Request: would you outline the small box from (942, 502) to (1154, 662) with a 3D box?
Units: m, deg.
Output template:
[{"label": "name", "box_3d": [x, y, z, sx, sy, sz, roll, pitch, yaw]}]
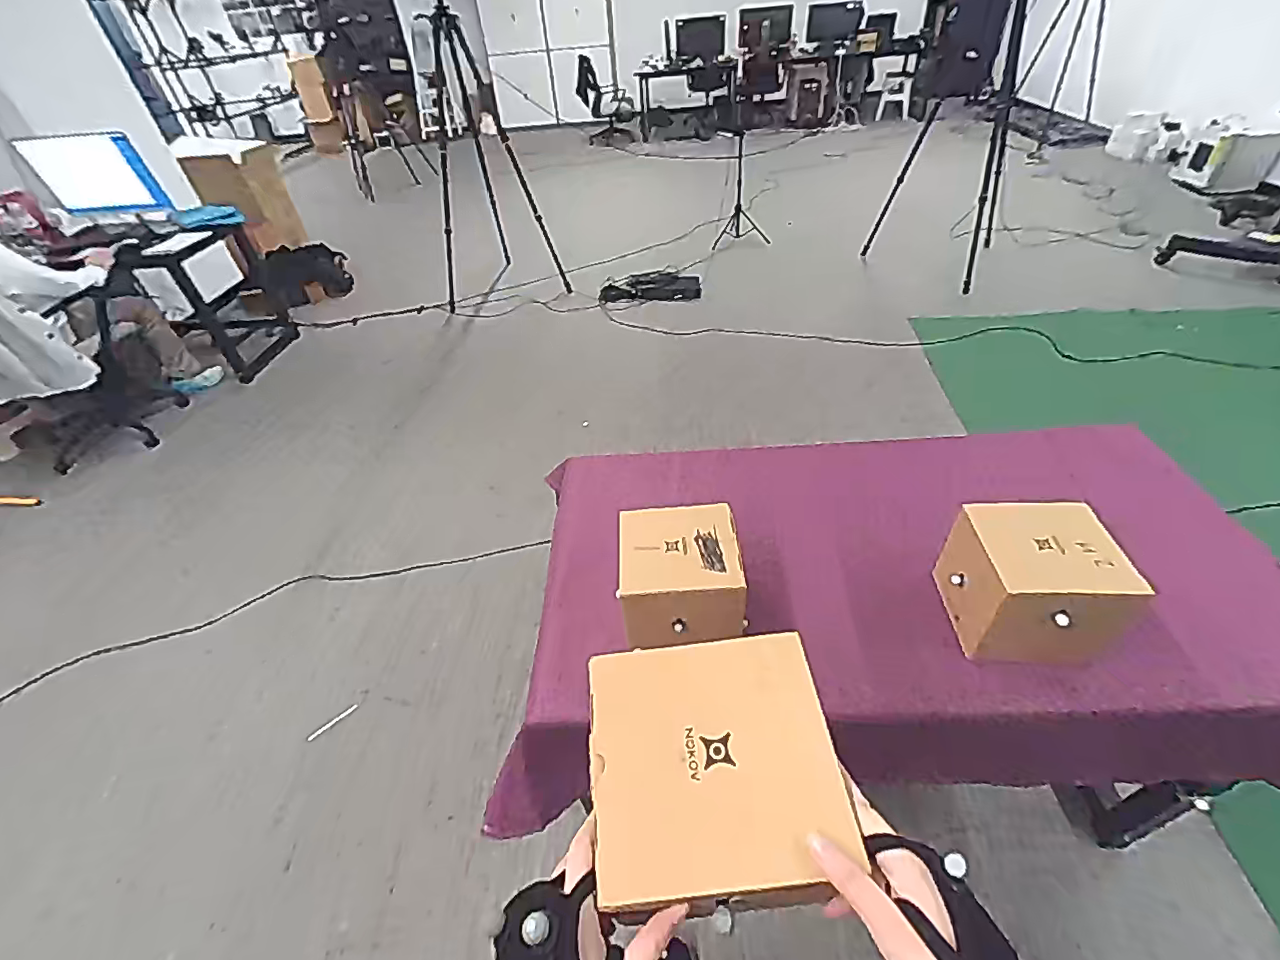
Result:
[{"label": "small box", "box_3d": [0.567, 0.149, 0.790, 0.179, 0.176, 0.168, 0, 42, 7]}]

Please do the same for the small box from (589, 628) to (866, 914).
[{"label": "small box", "box_3d": [0.058, 0.244, 0.449, 0.179, 0.176, 0.168, -8, 47, 1]}]

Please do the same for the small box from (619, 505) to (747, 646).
[{"label": "small box", "box_3d": [0.064, 0.160, 0.843, 0.179, 0.176, 0.168, -6, 41, 3]}]
